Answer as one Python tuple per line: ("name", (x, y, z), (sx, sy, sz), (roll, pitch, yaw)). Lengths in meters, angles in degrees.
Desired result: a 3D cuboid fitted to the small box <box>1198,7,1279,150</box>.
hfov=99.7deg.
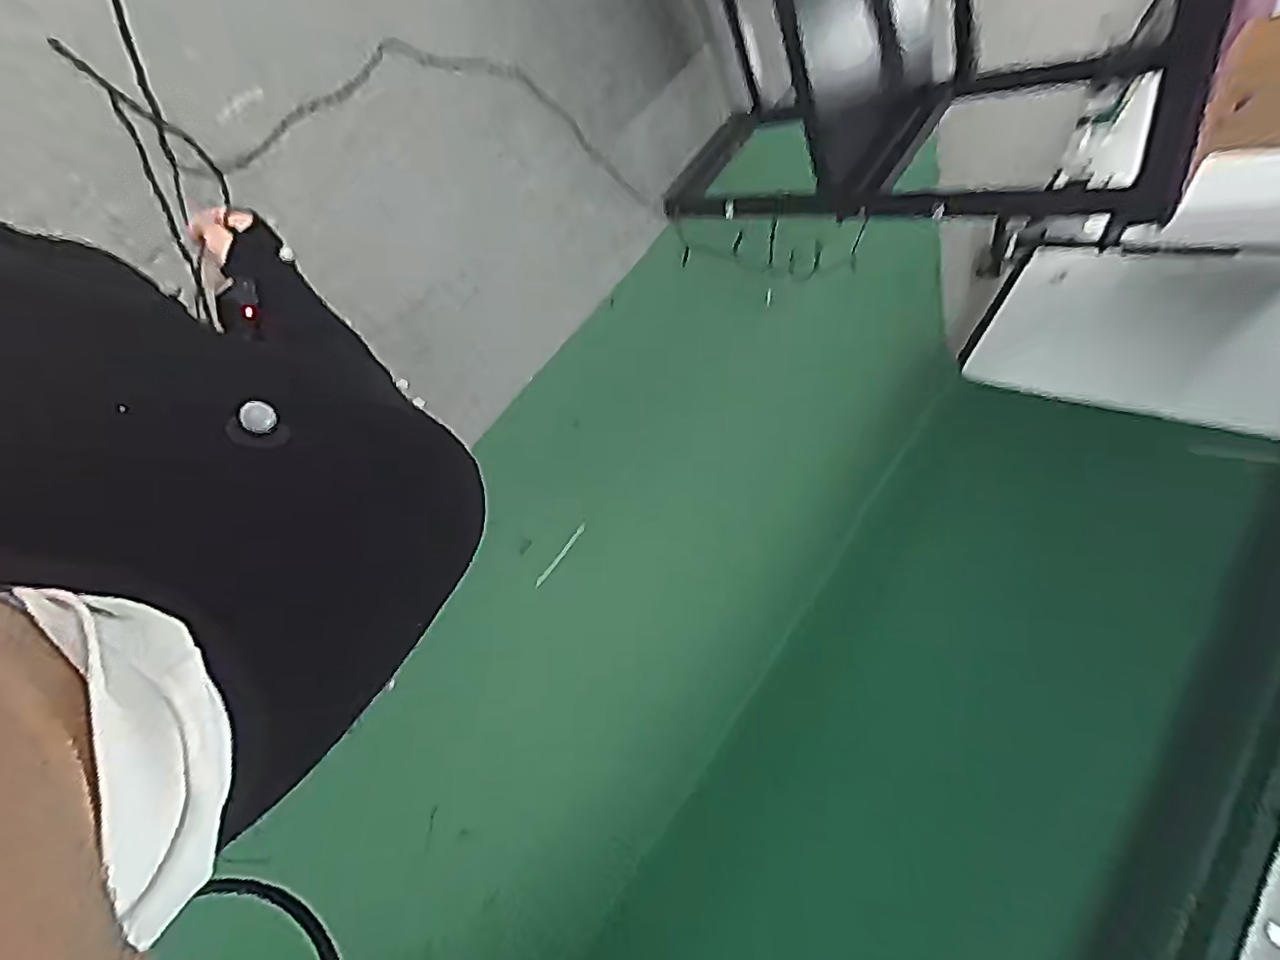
("small box", (1.170, -0.730, 0.976), (0.179, 0.176, 0.168), (-52, 137, -12))
